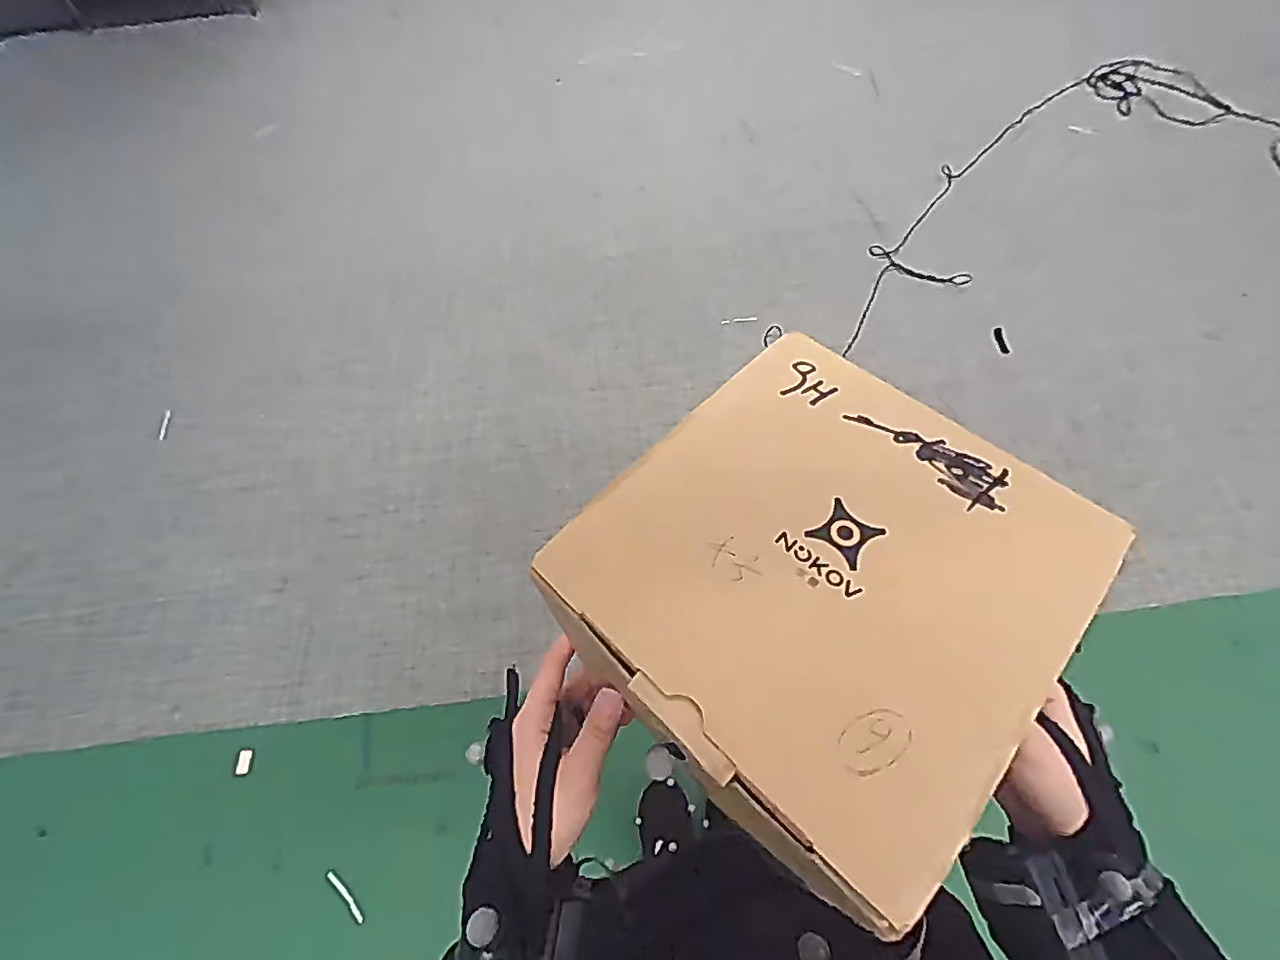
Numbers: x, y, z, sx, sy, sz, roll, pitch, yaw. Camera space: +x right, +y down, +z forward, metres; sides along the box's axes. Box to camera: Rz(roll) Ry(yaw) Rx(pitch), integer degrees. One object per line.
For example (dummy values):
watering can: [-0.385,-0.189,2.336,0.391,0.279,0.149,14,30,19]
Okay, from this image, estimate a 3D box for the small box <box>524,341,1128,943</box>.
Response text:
small box: [0.075,0.072,0.278,0.168,0.176,0.179,39,69,23]
